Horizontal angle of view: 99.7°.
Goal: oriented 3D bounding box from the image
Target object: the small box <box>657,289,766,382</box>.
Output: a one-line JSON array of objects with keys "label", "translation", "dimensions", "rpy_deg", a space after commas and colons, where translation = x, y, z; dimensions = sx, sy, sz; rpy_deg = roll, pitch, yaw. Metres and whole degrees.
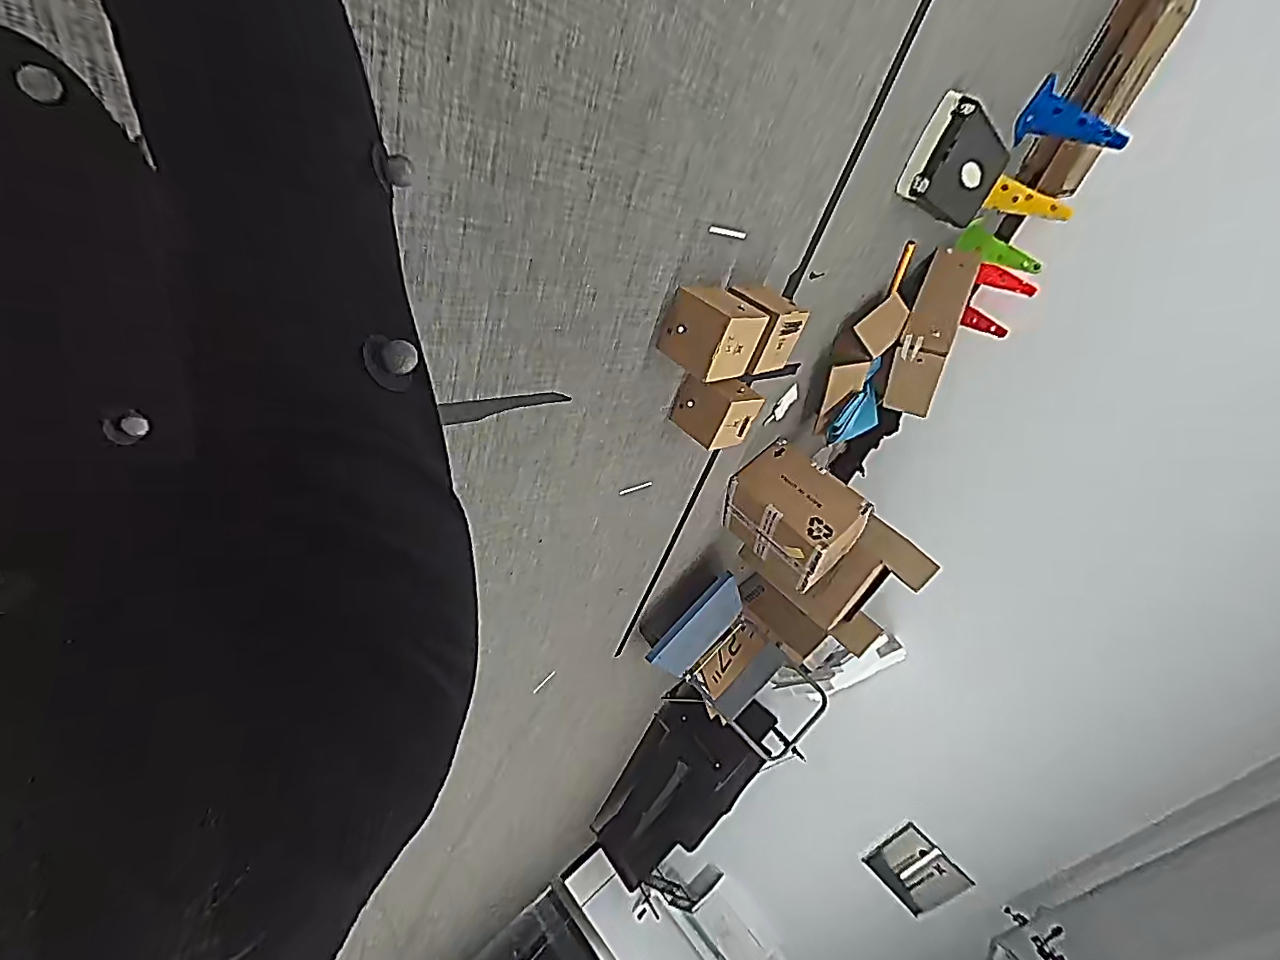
[{"label": "small box", "translation": [0.174, -0.362, 1.339], "dimensions": [0.179, 0.176, 0.168], "rpy_deg": [-19, 140, -45]}]

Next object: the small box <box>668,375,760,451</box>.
[{"label": "small box", "translation": [0.216, -0.210, 1.605], "dimensions": [0.179, 0.176, 0.168], "rpy_deg": [-15, 138, -47]}]
